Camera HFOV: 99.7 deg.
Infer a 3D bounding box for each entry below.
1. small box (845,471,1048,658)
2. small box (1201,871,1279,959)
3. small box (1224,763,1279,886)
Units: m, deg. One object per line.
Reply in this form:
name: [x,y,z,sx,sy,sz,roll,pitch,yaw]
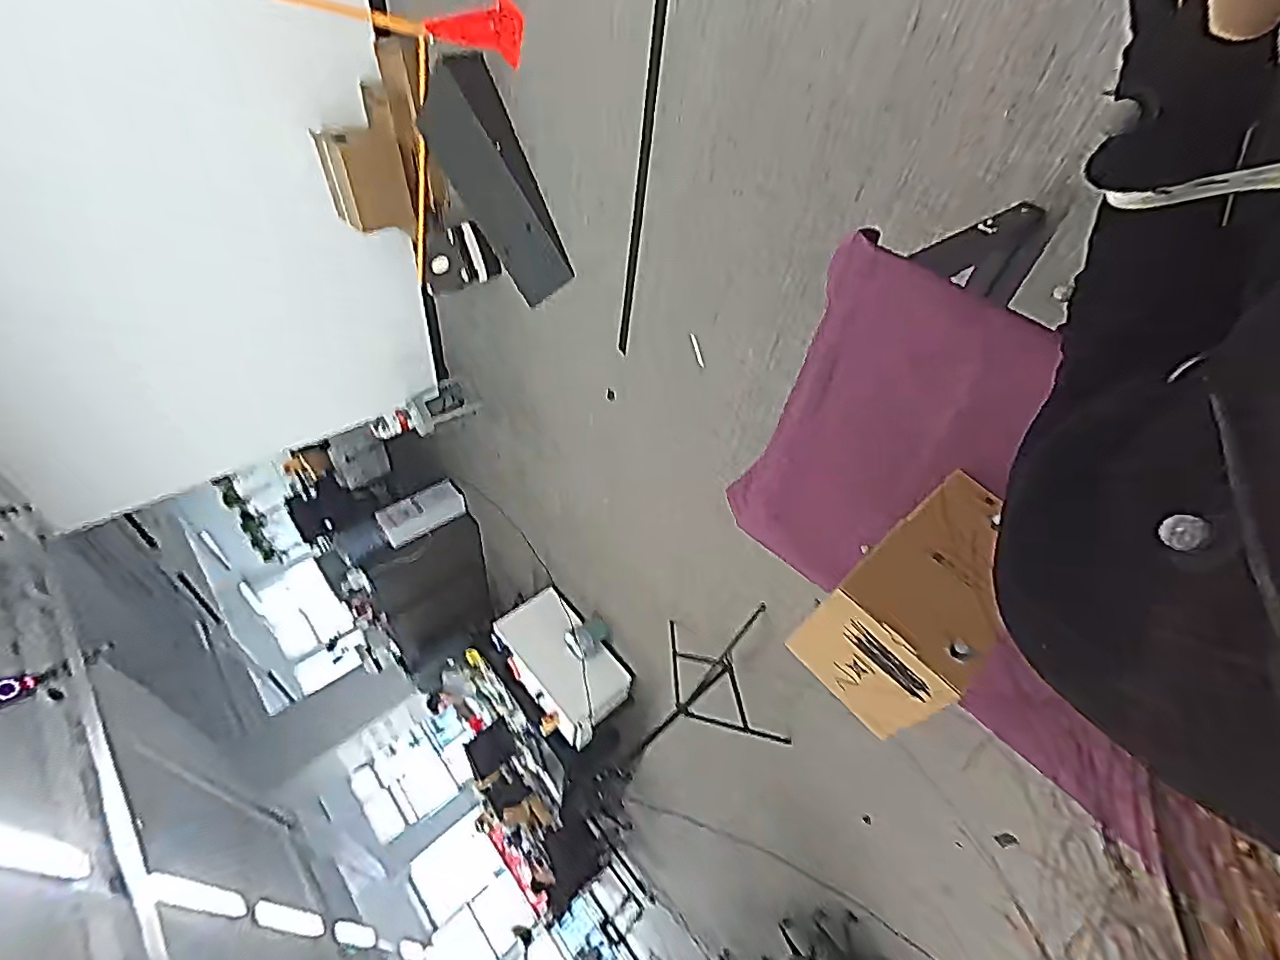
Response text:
small box: [0.447,0.121,0.795,0.168,0.176,0.179,44,145,21]
small box: [0.669,0.487,0.484,0.168,0.176,0.179,42,145,25]
small box: [0.789,0.411,0.566,0.168,0.176,0.179,42,145,25]
